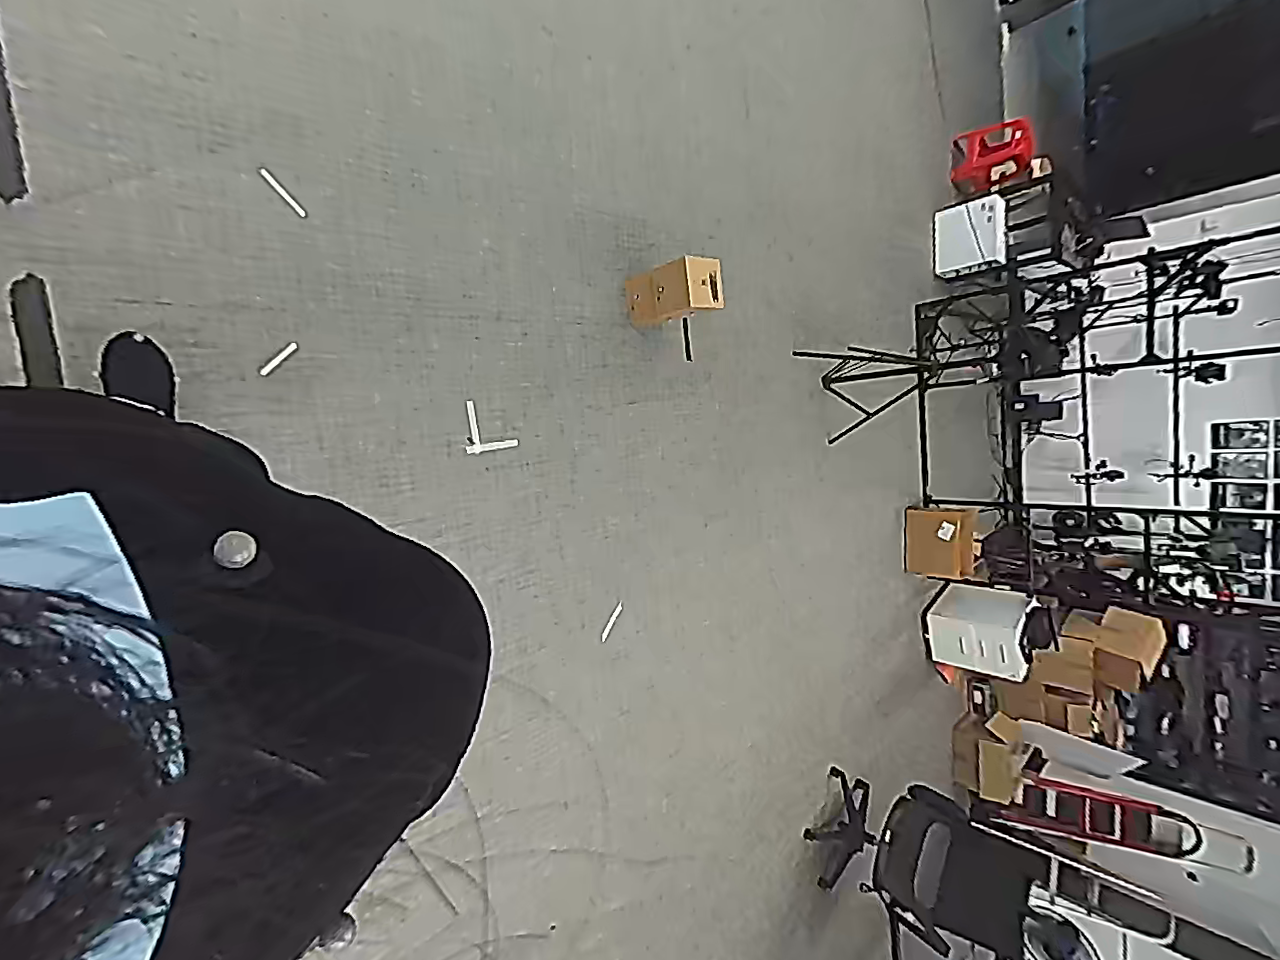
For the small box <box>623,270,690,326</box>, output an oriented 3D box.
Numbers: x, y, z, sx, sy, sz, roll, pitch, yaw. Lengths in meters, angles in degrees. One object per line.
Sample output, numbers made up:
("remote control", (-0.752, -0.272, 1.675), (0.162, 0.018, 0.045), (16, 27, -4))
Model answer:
("small box", (0.061, -0.679, 2.021), (0.179, 0.176, 0.168), (-18, 103, -41))
